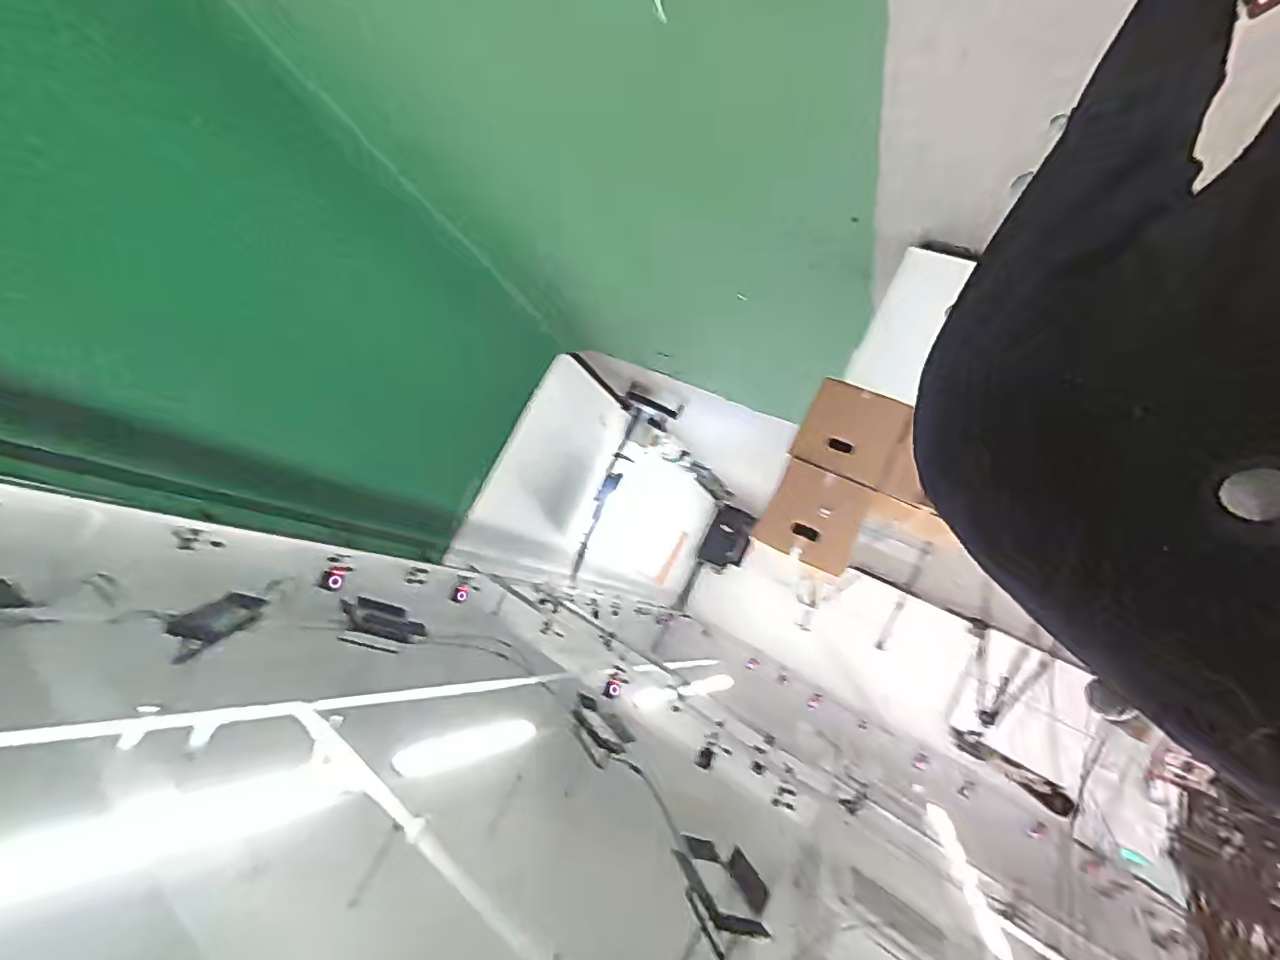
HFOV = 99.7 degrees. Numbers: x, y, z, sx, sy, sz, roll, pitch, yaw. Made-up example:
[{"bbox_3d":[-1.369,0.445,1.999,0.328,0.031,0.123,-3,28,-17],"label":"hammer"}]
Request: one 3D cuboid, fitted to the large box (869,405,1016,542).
[{"bbox_3d":[1.020,-0.012,1.870,0.320,0.320,0.408,27,176,22],"label":"large box"}]
